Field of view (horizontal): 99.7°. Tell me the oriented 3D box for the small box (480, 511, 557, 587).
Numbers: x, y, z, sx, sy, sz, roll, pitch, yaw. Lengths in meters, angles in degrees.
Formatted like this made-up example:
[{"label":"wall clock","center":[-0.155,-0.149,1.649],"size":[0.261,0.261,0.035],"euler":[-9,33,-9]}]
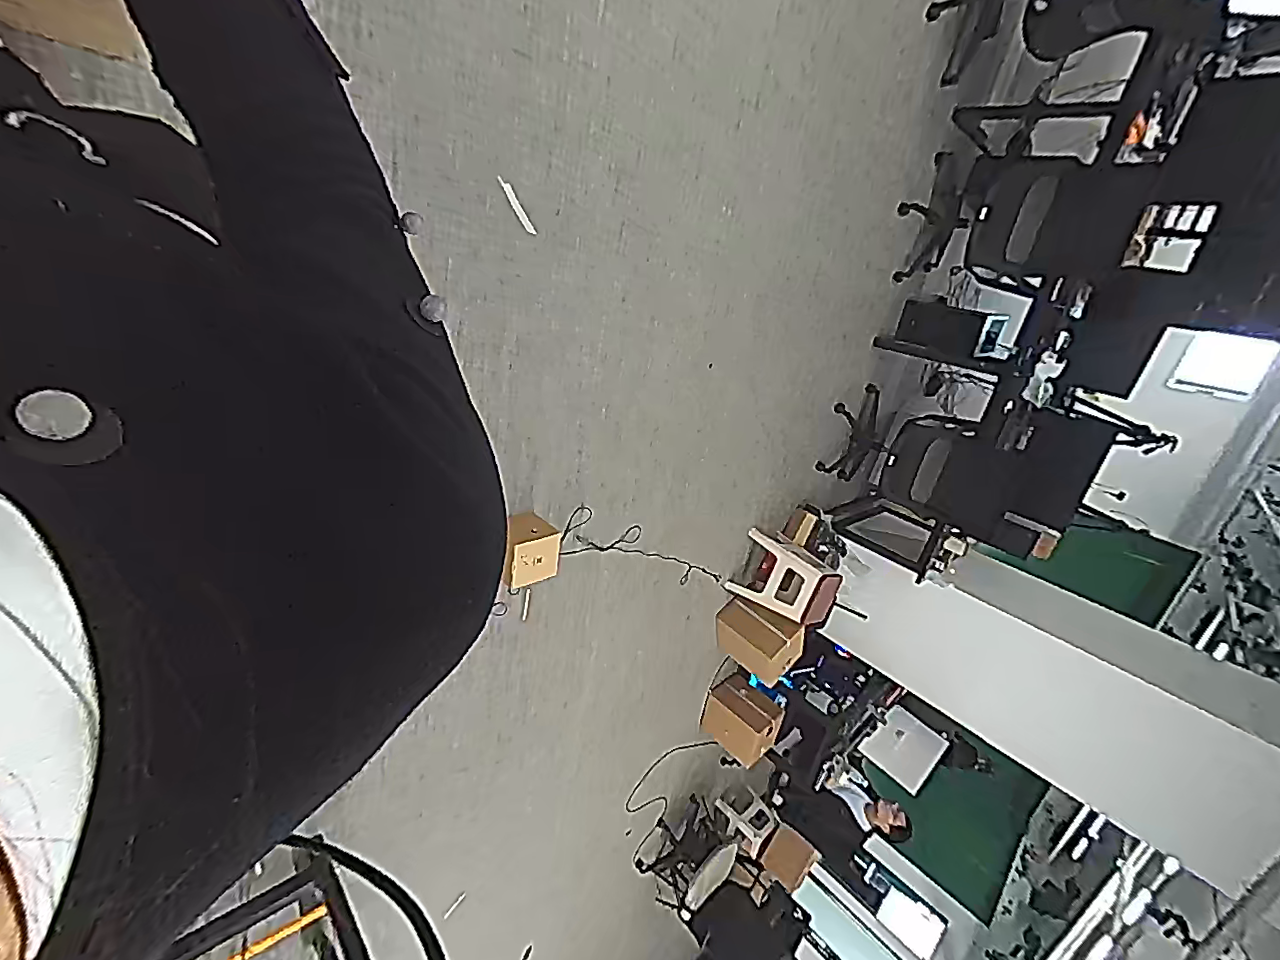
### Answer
[{"label":"small box","center":[-0.399,0.217,1.766],"size":[0.179,0.176,0.168],"euler":[-12,121,-43]}]
